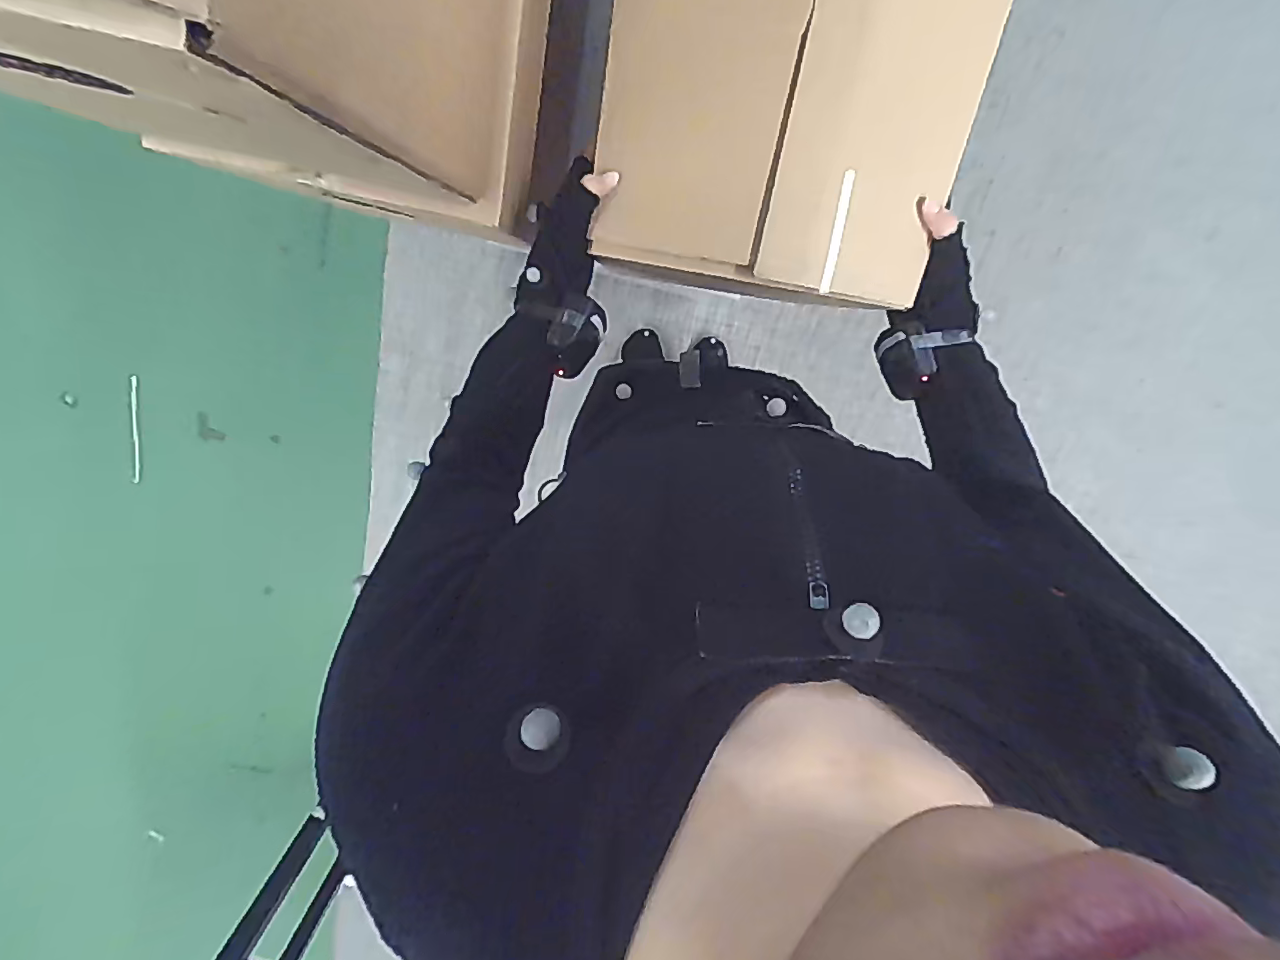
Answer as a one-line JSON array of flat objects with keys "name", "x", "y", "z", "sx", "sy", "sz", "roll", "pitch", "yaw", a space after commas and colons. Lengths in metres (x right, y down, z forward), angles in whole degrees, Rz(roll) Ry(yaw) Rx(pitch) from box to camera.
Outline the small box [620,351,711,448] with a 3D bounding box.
[{"name": "small box", "x": 0.055, "y": -0.209, "z": 1.385, "sx": 0.168, "sy": 0.176, "sz": 0.179, "roll": 13, "pitch": 112, "yaw": -19}]
